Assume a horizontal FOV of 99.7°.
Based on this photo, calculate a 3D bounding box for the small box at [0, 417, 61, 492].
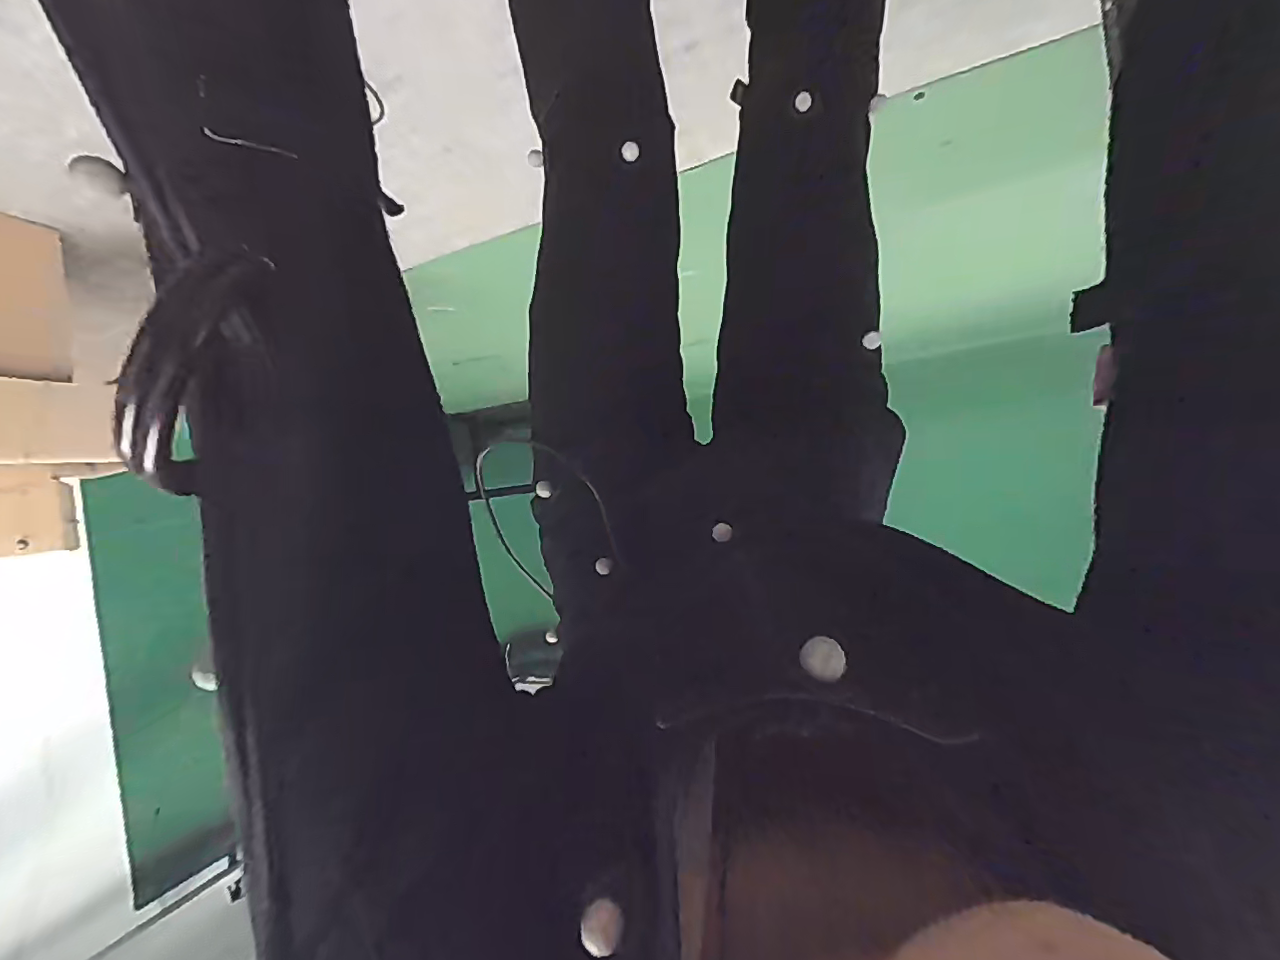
[{"bbox_3d":[-1.462,-0.050,1.239,0.168,0.176,0.179,-5,177,-43],"label":"small box"}]

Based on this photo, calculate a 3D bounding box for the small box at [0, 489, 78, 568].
[{"bbox_3d":[-1.437,0.112,1.249,0.168,0.176,0.179,-6,178,-37],"label":"small box"}]
